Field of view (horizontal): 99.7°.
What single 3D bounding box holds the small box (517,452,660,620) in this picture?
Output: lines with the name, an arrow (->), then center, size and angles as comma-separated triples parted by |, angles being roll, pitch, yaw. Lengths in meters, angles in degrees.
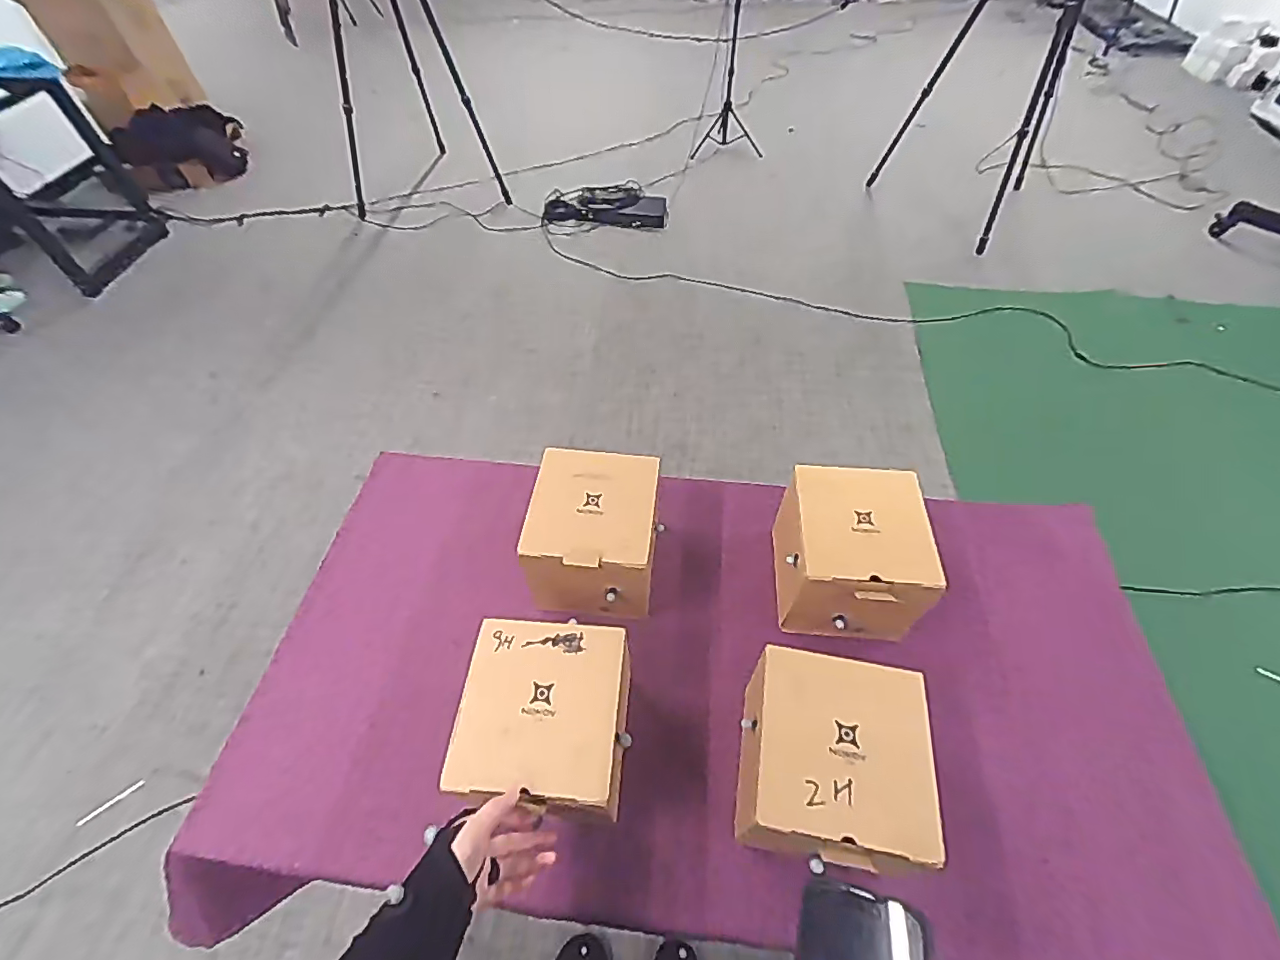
small box -> -0.062, 0.085, 0.776 | 0.168, 0.176, 0.179 | 6, 53, 4

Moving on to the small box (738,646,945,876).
small box -> 0.204, 0.310, 0.594 | 0.168, 0.176, 0.179 | 8, 53, 8

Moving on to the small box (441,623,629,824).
small box -> -0.102, 0.284, 0.622 | 0.168, 0.176, 0.179 | 3, 53, 3

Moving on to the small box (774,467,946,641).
small box -> 0.287, 0.104, 0.753 | 0.168, 0.176, 0.179 | 3, 53, 4
